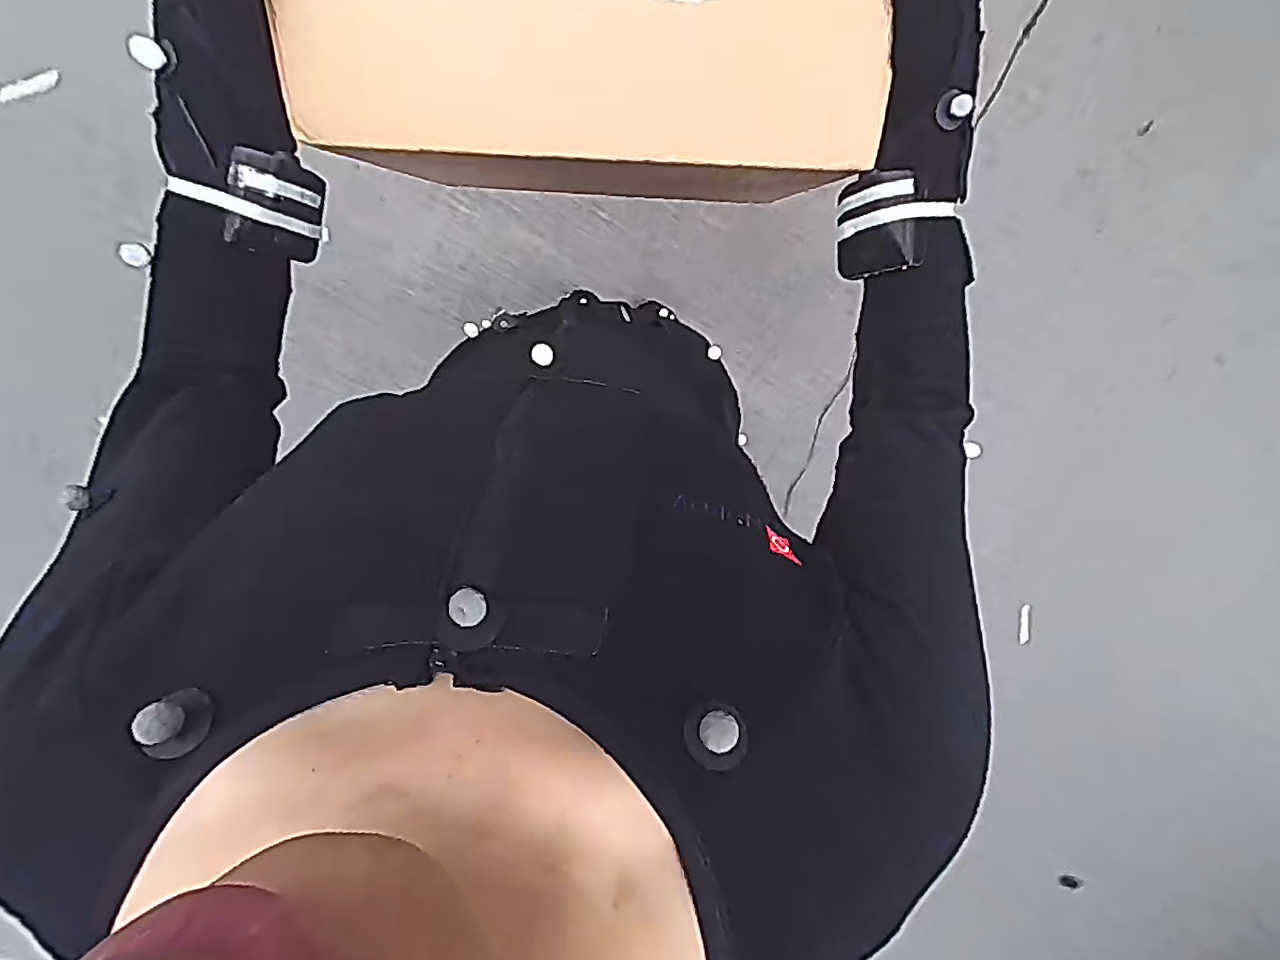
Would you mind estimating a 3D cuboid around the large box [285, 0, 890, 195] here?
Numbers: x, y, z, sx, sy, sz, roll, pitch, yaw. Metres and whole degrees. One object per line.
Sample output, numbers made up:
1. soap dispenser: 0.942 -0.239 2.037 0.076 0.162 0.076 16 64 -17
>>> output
1. large box: -0.034 -0.434 0.464 0.408 0.320 0.320 1 114 -1
